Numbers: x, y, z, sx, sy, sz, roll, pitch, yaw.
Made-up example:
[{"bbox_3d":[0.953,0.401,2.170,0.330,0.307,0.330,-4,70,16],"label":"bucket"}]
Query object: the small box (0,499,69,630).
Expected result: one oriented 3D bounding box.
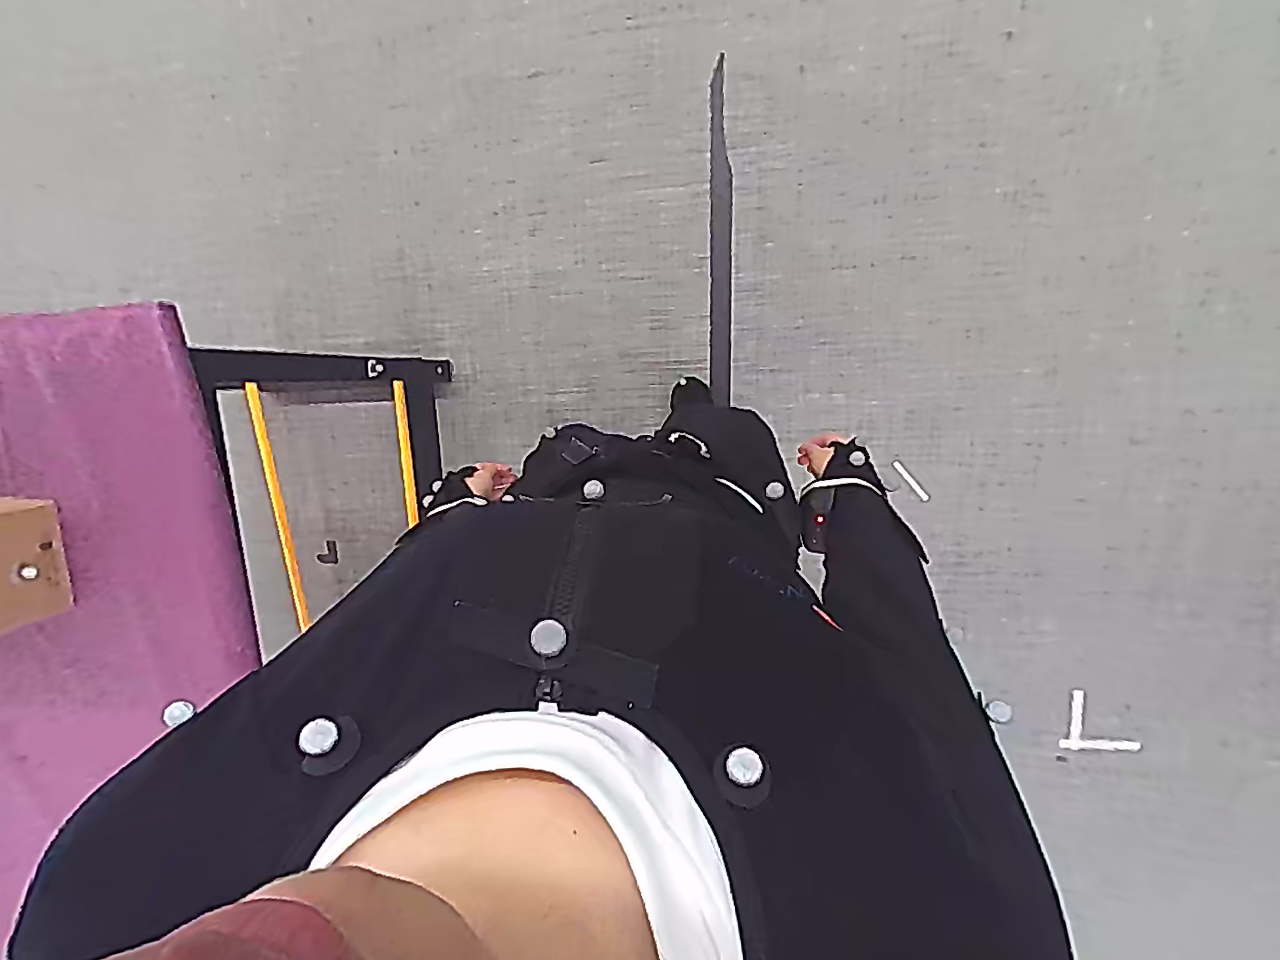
[{"bbox_3d":[-0.930,0.121,0.714,0.179,0.176,0.168,3,101,8],"label":"small box"}]
